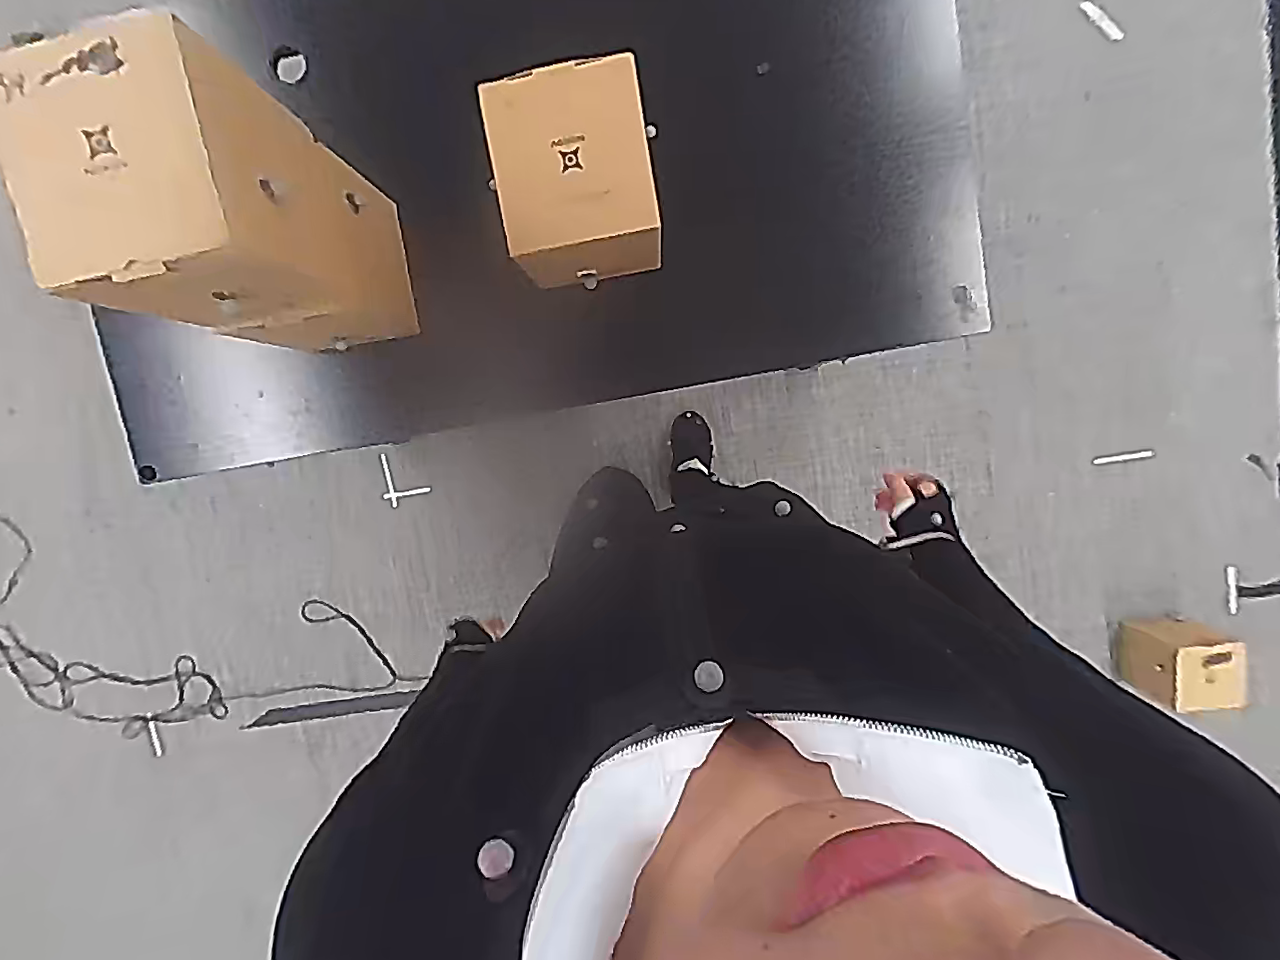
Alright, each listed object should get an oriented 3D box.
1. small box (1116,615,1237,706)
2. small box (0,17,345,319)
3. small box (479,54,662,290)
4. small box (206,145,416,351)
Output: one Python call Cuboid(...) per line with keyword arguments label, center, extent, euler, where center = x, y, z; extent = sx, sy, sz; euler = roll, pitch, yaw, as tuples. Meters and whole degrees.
Cuboid(label="small box", center=(1.421, 0.471, 1.443), extent=(0.168, 0.176, 0.179), euler=(-7, 98, 2))
Cuboid(label="small box", center=(-0.405, -0.254, 0.492), extent=(0.168, 0.176, 0.179), euler=(-11, 97, 2))
Cuboid(label="small box", center=(-0.070, -0.345, 0.642), extent=(0.168, 0.176, 0.179), euler=(-10, 97, 4))
Cuboid(label="small box", center=(-0.398, -0.264, 0.656), extent=(0.168, 0.176, 0.179), euler=(-9, 97, 2))
